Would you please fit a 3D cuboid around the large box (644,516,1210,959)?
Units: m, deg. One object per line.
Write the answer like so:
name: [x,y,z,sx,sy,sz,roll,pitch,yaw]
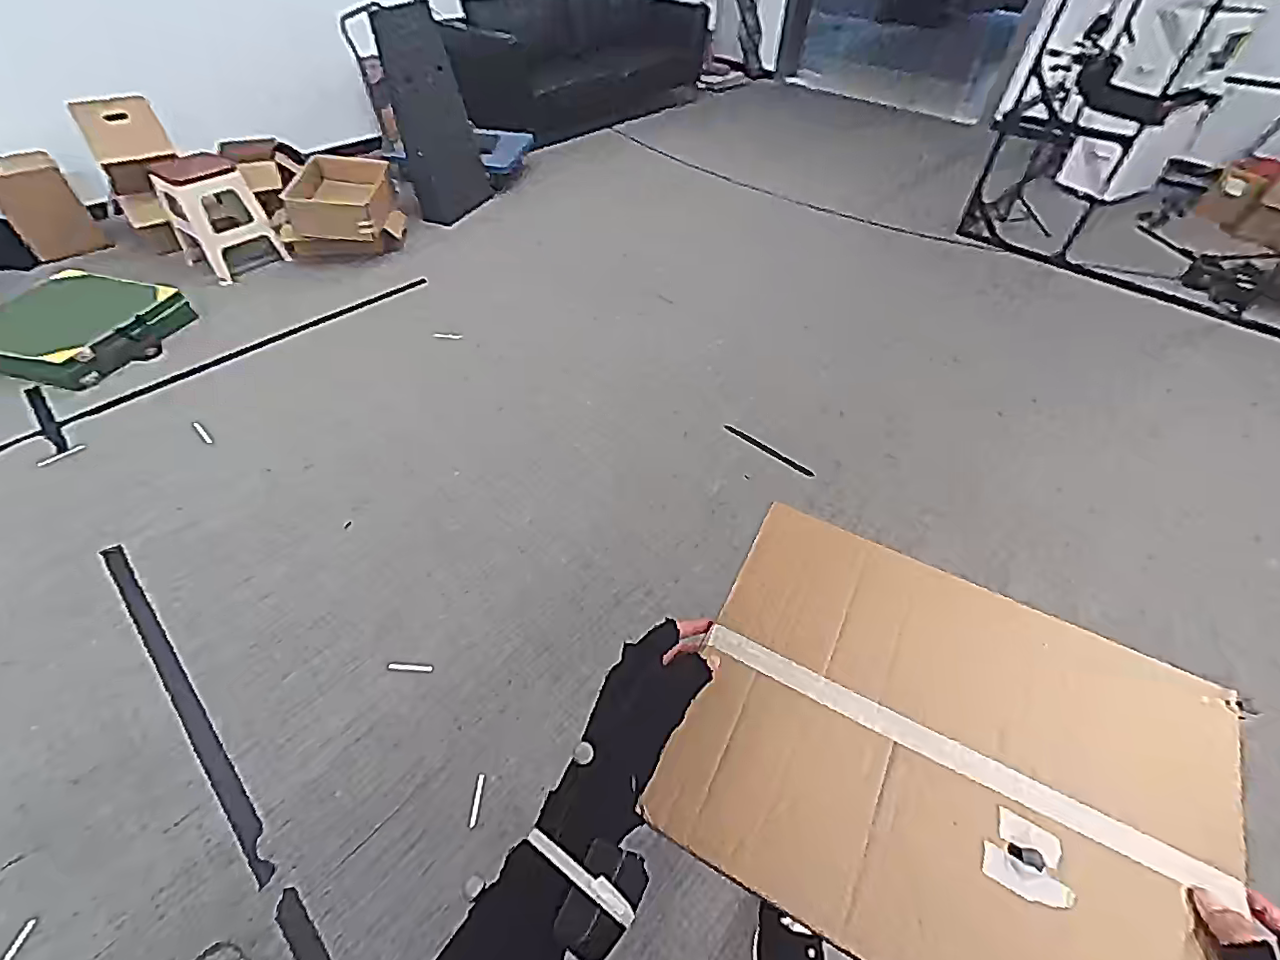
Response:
large box: [0.248,0.302,0.581,0.408,0.320,0.320,23,63,16]
